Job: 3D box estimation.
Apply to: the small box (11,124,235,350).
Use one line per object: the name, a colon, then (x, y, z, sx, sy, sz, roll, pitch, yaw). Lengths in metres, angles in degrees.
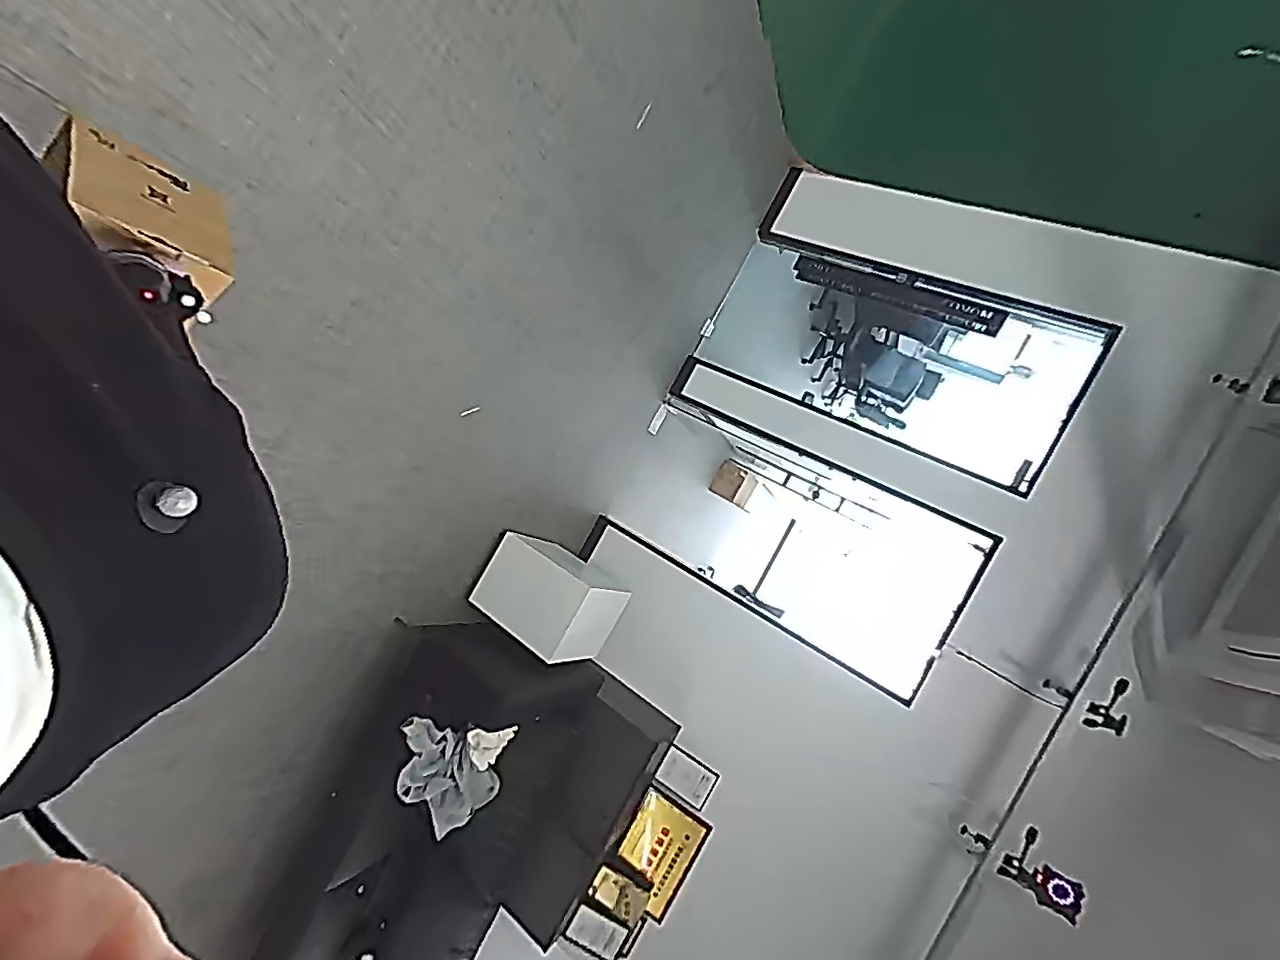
small box: (-0.679, -0.304, 0.715, 0.176, 0.179, 0.168, -36, 156, 18)
